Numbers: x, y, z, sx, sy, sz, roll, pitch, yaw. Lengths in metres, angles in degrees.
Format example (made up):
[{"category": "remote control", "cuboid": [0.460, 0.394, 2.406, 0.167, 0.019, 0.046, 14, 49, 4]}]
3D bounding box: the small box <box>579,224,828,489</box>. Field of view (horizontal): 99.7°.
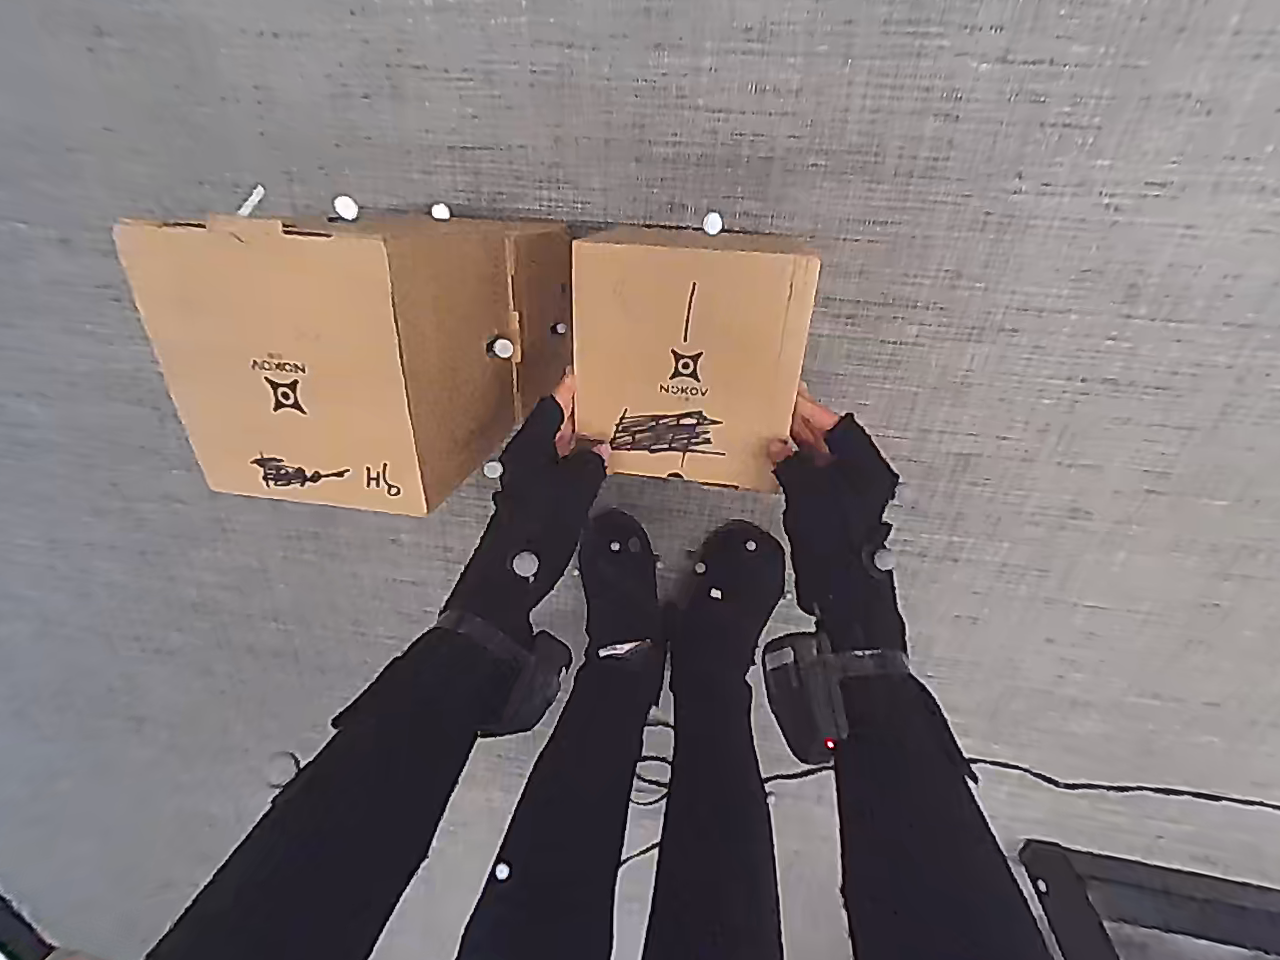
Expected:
[{"category": "small box", "cuboid": [0.047, -0.115, 0.466, 0.168, 0.176, 0.179, 7, 118, 4]}]
